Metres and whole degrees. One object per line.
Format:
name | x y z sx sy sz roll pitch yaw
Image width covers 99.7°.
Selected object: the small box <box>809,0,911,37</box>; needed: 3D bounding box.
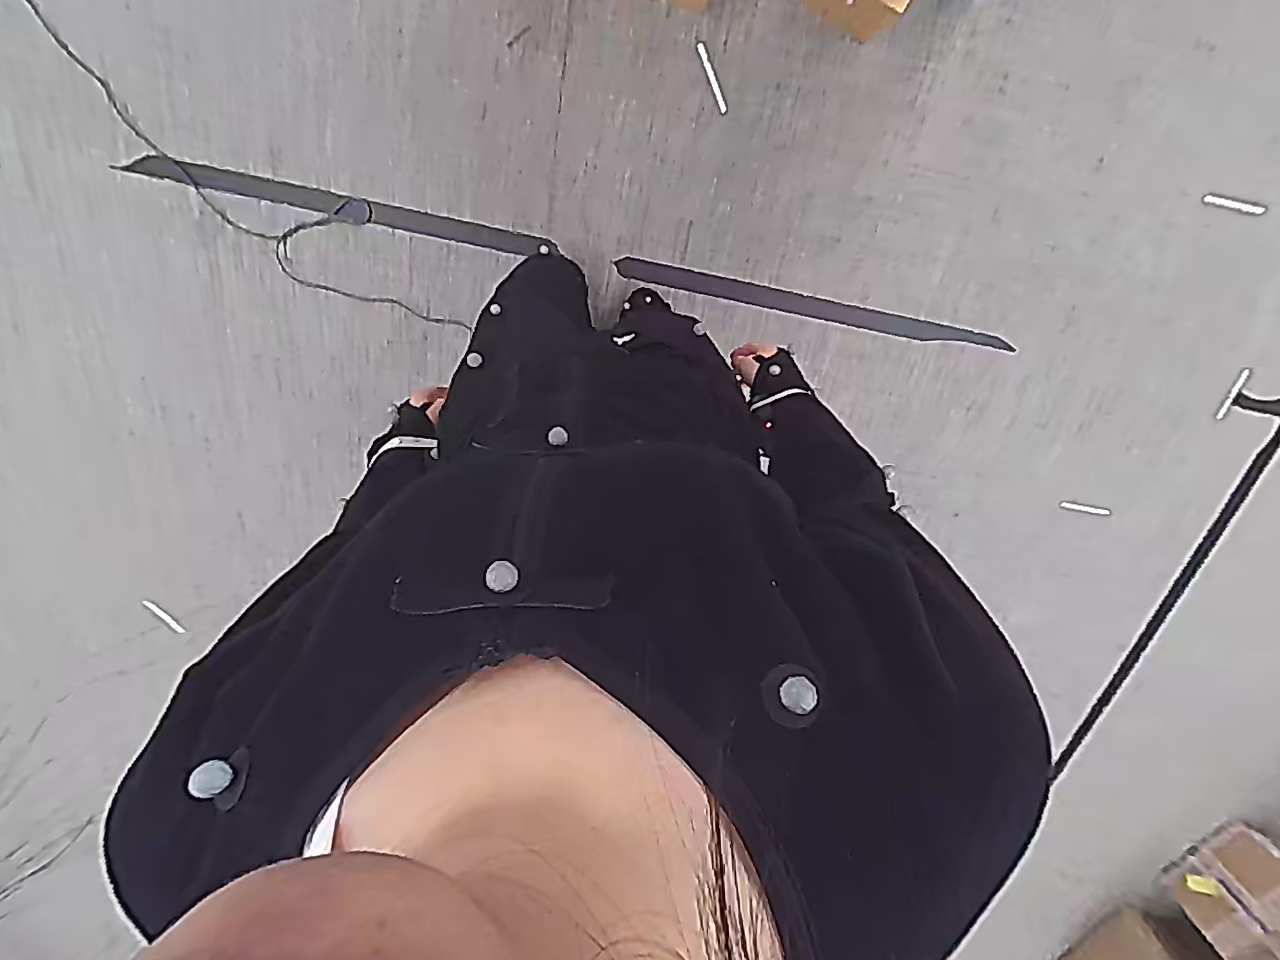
small box | 0.452 -1.001 1.037 0.179 0.176 0.168 26 111 -9
